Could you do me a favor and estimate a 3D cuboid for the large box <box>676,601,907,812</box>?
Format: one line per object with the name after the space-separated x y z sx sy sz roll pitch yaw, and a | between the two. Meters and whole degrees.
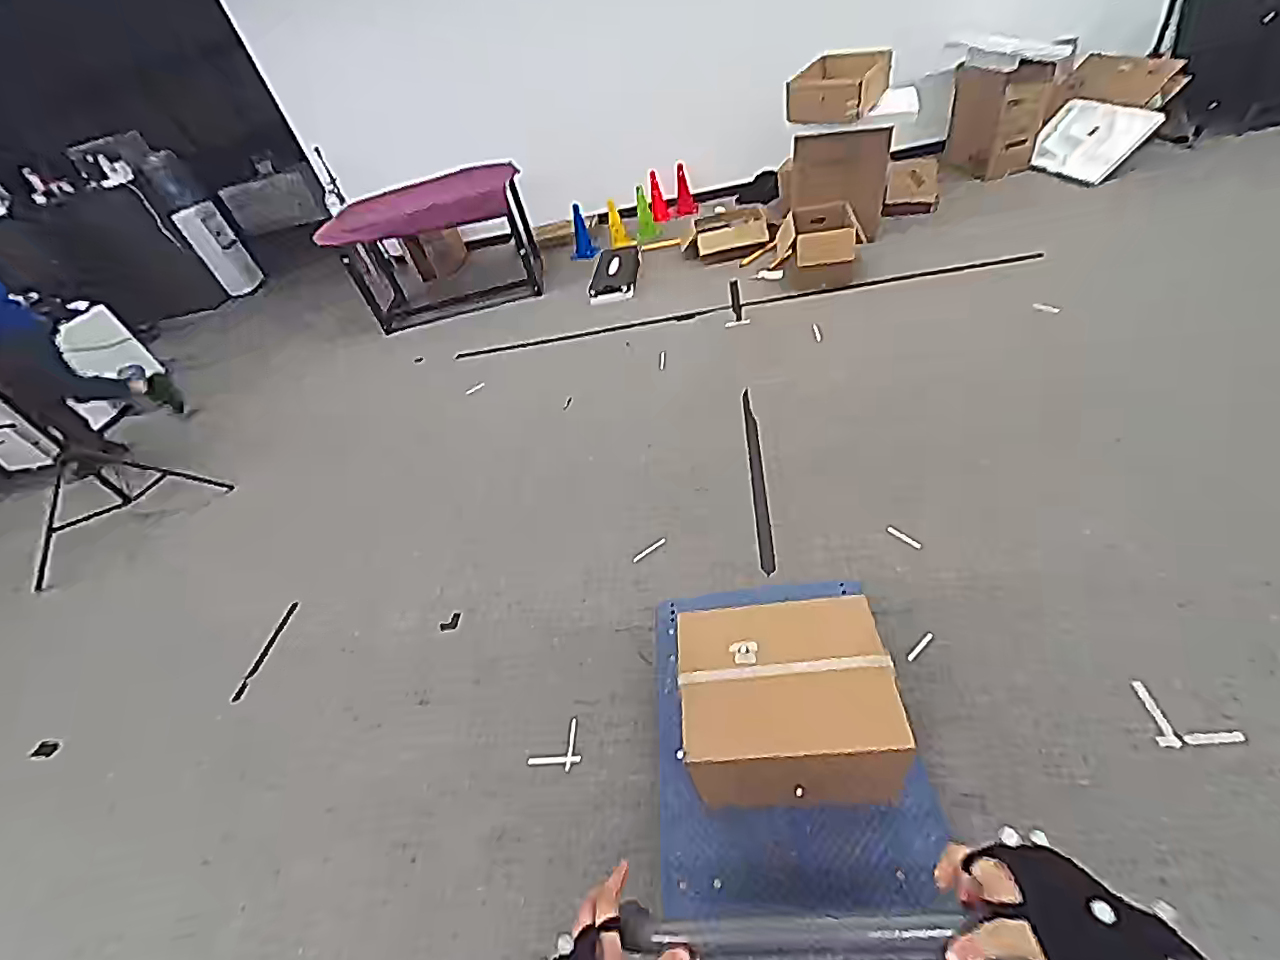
0.310 0.502 1.182 0.408 0.320 0.320 -9 42 9 | large box
